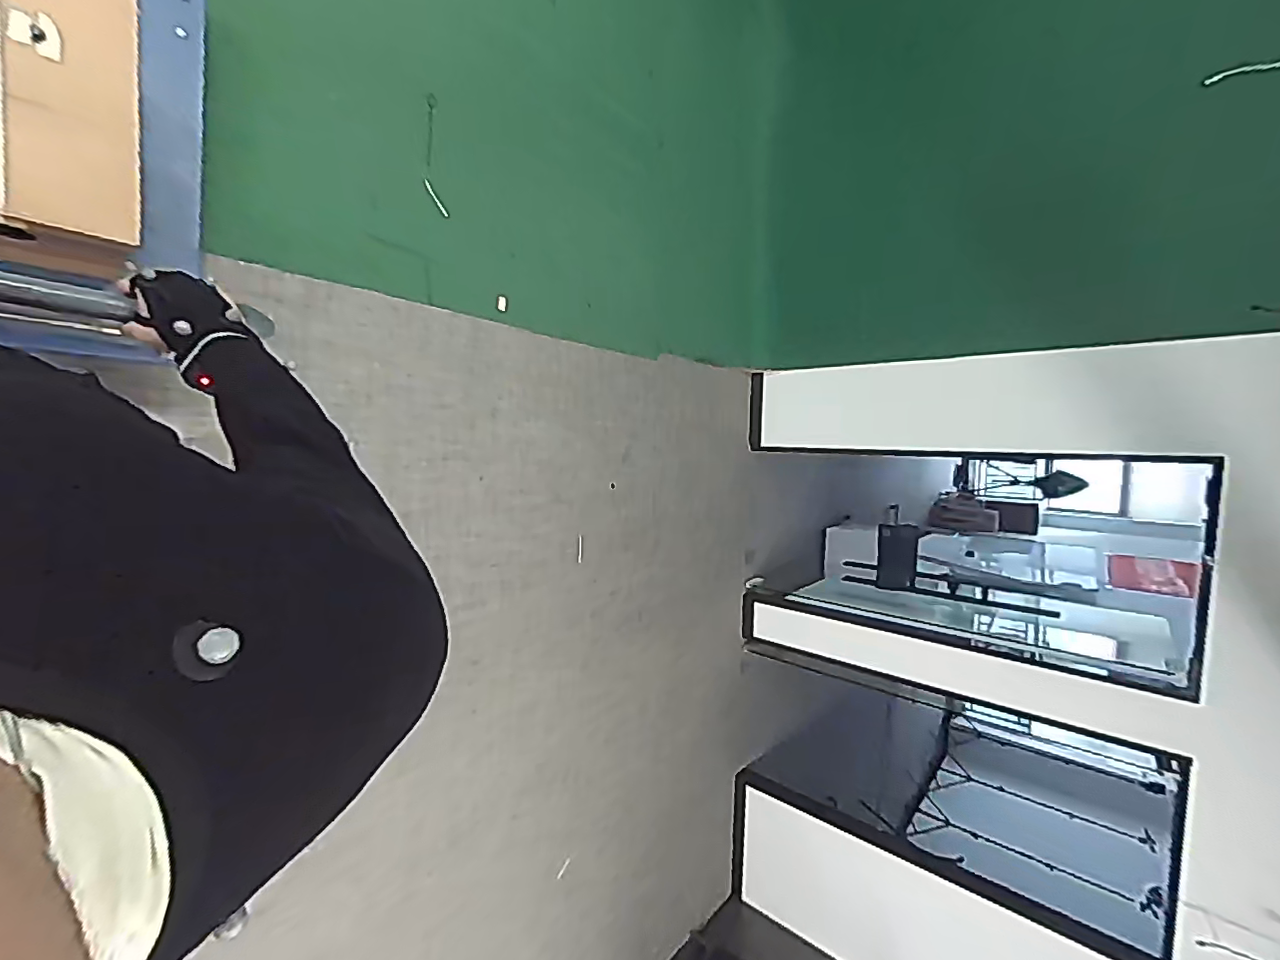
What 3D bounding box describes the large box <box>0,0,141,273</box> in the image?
[{"bbox_3d":[-1.023,-0.588,0.851,0.320,0.320,0.408,-2,95,-49],"label":"large box"}]
